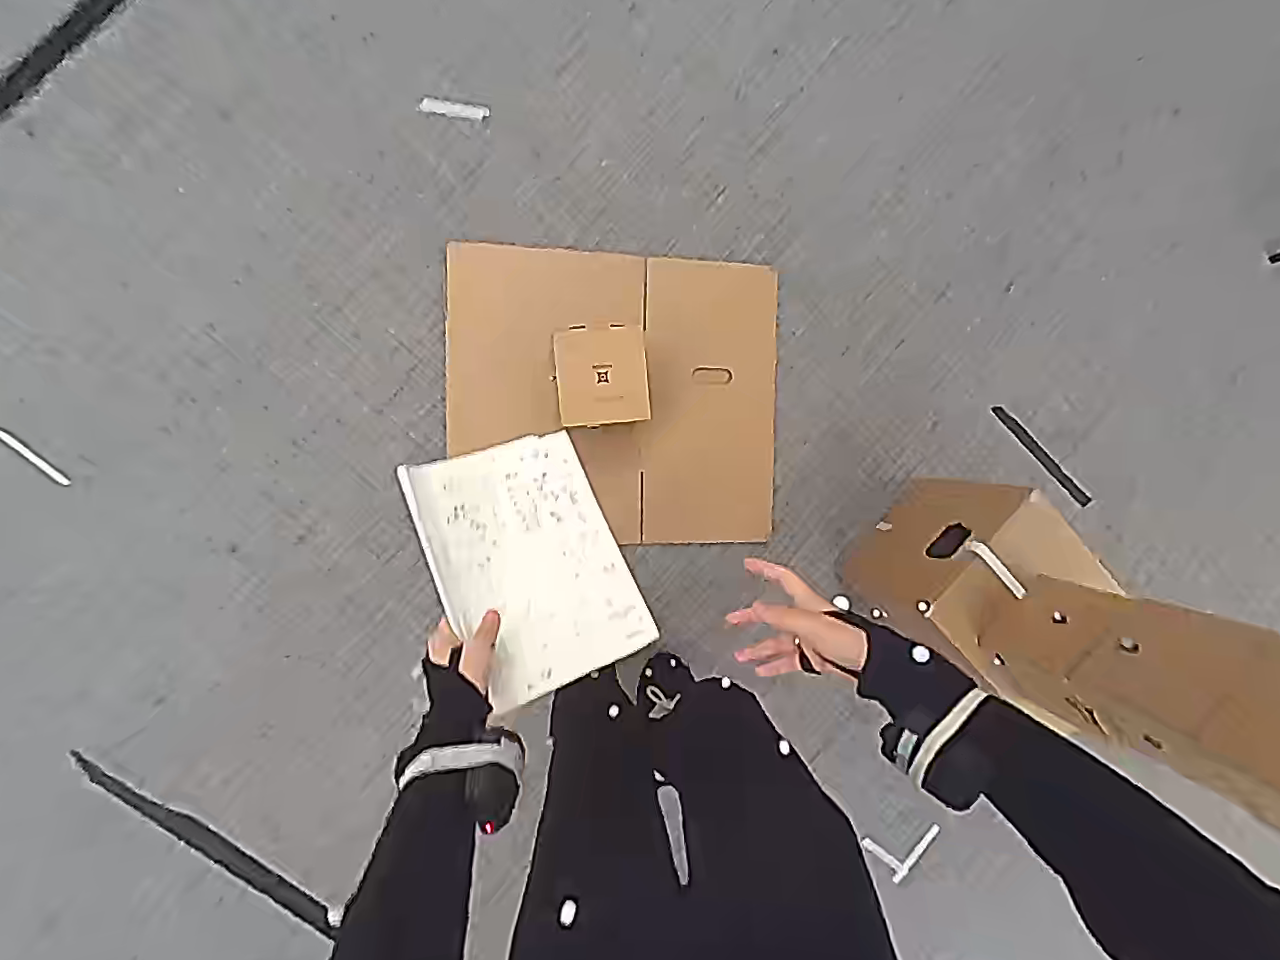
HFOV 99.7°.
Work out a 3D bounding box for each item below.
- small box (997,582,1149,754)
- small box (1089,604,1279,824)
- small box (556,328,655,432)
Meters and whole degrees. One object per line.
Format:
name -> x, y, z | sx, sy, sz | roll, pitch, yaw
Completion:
small box -> 0.741, 0.299, 0.898 | 0.179, 0.176, 0.168 | -43, 99, -4
small box -> 0.772, 0.303, 0.737 | 0.179, 0.176, 0.168 | -45, 100, -2
small box -> -0.072, -0.186, 1.043 | 0.168, 0.176, 0.179 | -6, 96, -9
